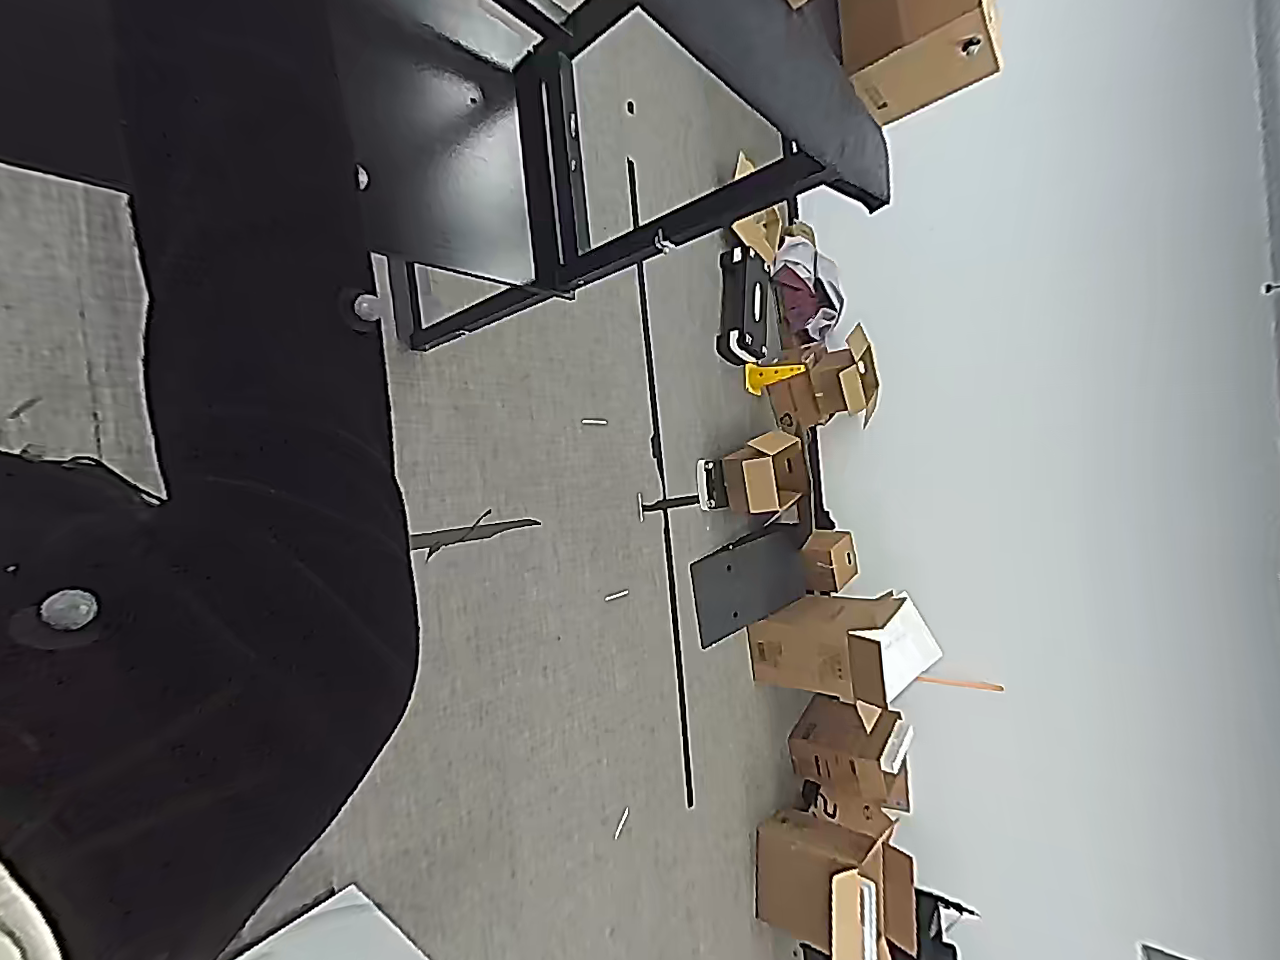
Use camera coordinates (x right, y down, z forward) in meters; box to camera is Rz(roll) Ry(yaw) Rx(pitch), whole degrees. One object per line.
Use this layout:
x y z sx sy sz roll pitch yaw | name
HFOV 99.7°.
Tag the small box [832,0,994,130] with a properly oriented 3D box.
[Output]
0.382 -0.648 0.763 0.168 0.176 0.179 -8 91 -49 | small box
